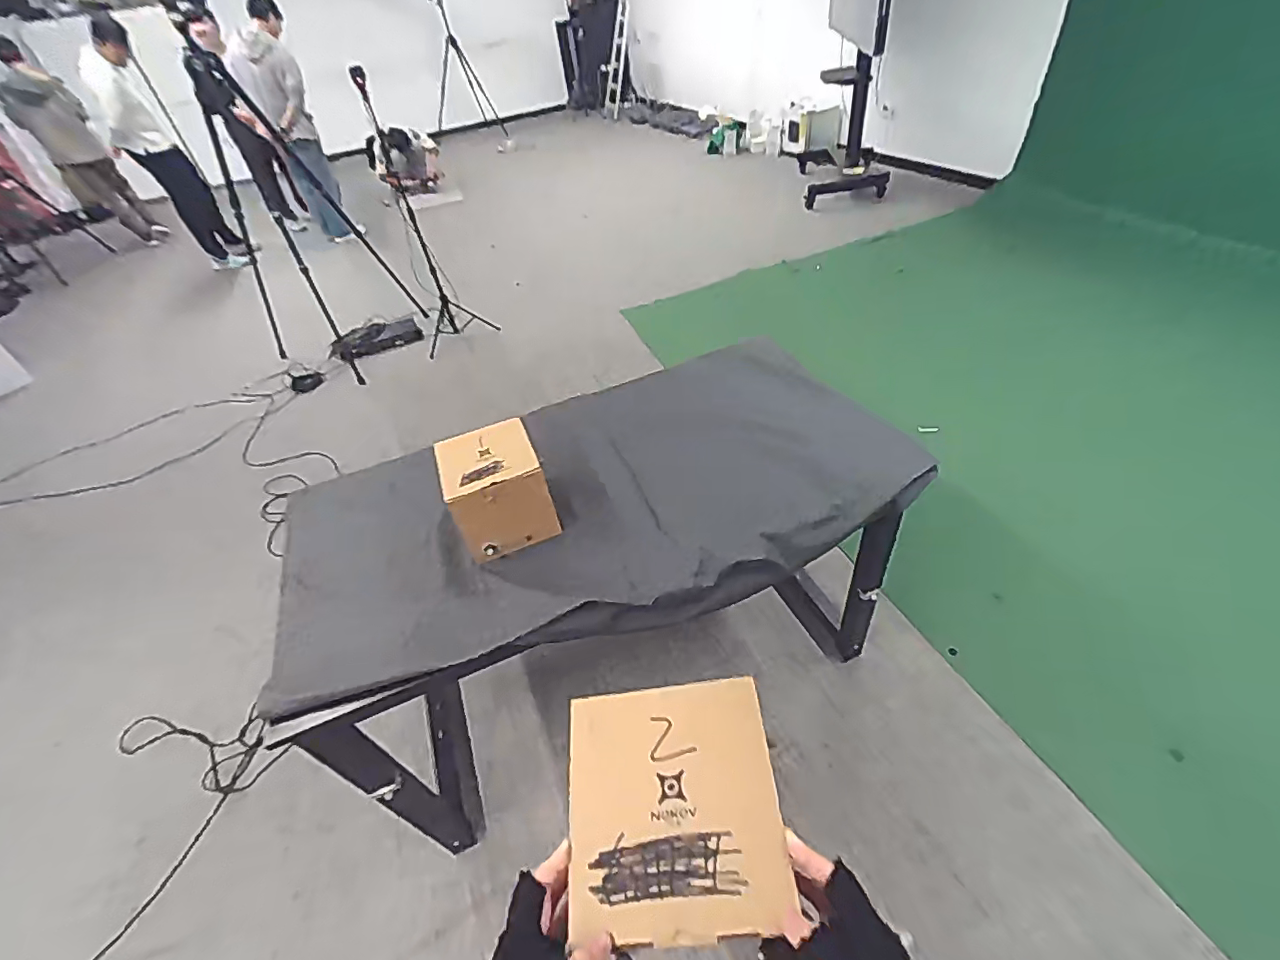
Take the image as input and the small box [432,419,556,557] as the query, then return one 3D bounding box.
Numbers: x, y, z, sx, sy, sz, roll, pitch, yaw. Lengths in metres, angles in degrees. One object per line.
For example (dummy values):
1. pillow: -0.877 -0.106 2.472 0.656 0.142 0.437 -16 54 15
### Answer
1. small box: -0.267 0.021 1.005 0.168 0.176 0.179 -20 43 -12
